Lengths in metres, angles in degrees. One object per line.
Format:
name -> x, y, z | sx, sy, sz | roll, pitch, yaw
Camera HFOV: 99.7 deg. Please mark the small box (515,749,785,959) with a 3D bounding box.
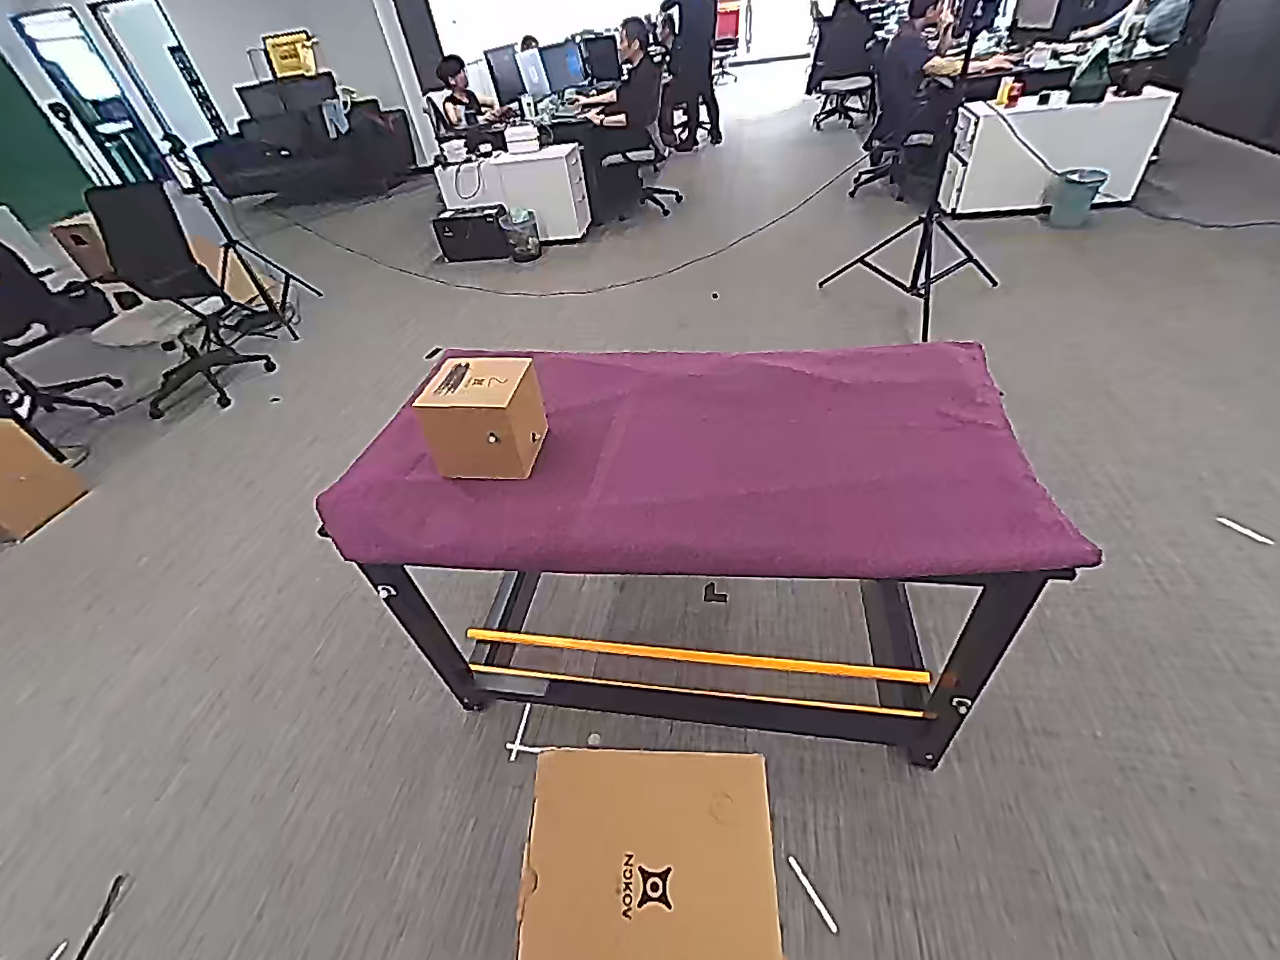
small box -> 0.011, 0.317, 0.433 | 0.179, 0.176, 0.168 | -1, 57, 4
